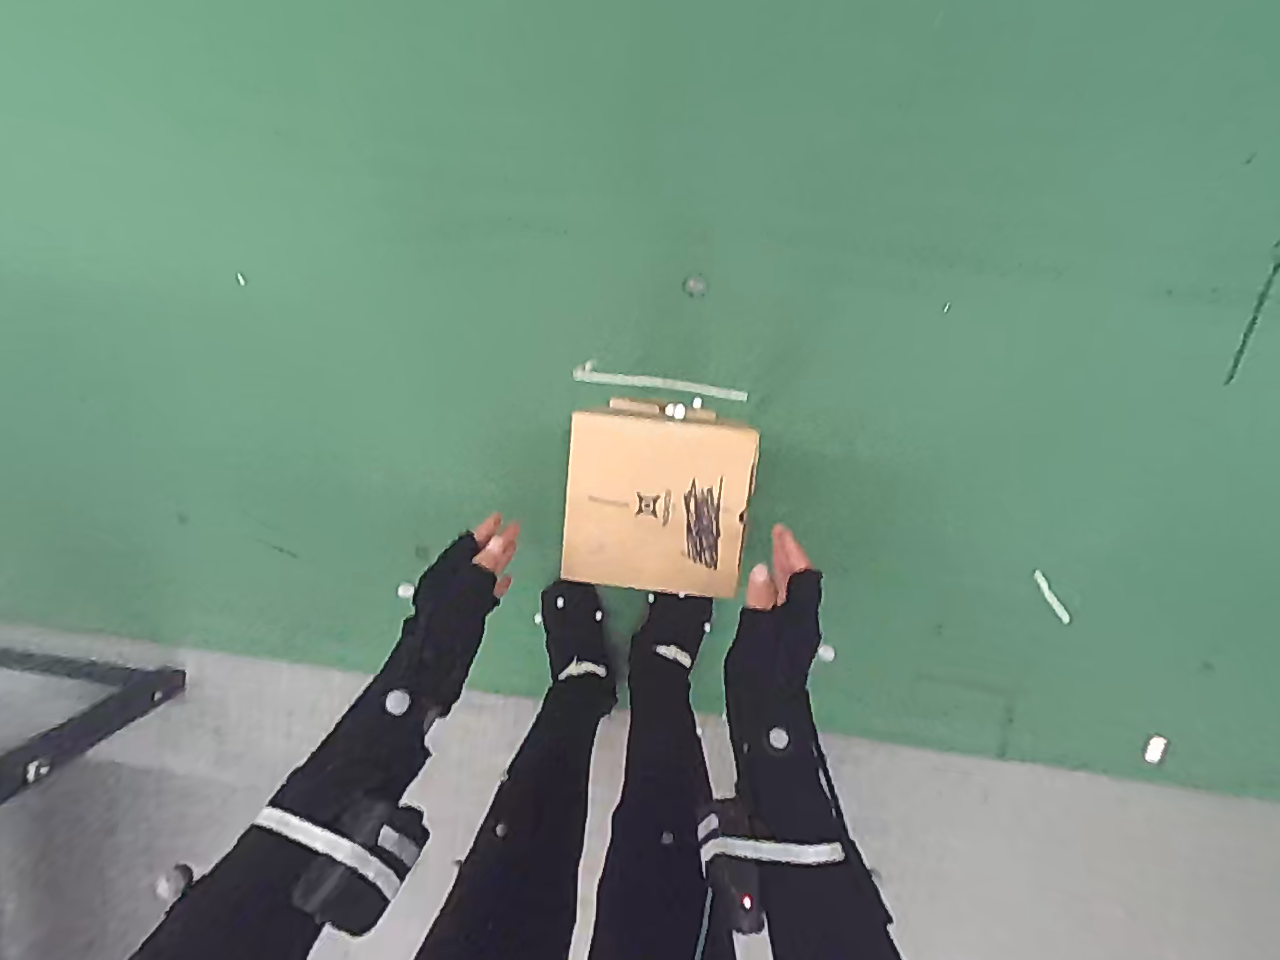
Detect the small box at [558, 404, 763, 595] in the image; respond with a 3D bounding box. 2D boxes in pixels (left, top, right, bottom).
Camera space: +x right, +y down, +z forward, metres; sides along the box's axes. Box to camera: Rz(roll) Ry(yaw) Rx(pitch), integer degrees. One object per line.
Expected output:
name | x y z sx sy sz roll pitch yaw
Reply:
small box | 0.021 0.009 0.592 0.179 0.176 0.168 8 98 2
